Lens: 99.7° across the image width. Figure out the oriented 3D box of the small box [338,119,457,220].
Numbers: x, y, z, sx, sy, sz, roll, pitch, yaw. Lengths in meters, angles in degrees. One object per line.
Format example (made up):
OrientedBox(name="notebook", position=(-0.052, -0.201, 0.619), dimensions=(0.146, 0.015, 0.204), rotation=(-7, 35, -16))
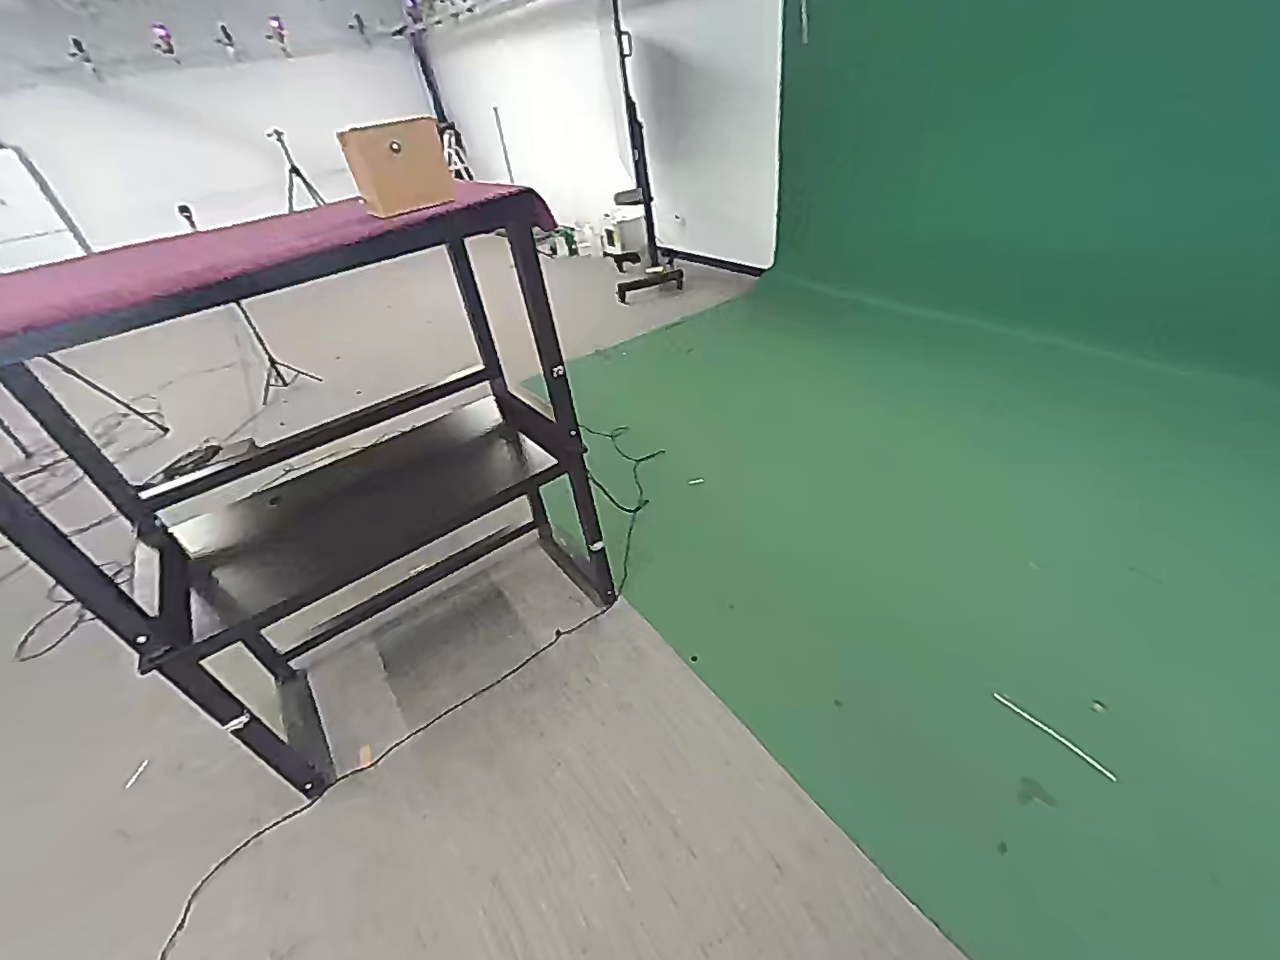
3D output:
OrientedBox(name="small box", position=(-0.548, -0.703, 1.231), dimensions=(0.179, 0.176, 0.168), rotation=(-28, 40, -24))
